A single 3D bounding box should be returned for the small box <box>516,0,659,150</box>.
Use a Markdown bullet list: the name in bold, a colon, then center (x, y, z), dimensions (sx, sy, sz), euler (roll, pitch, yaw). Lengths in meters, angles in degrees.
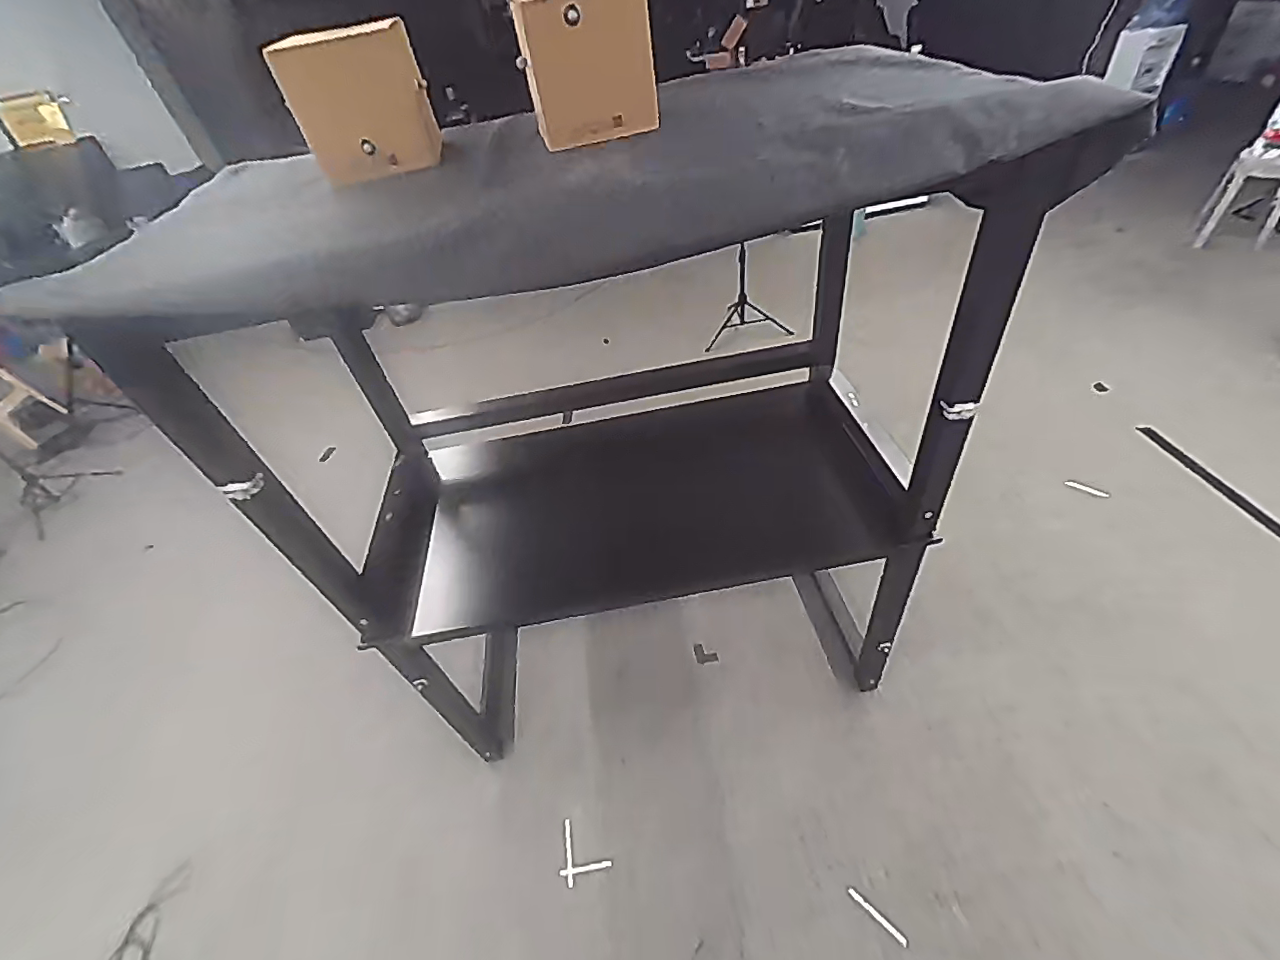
- **small box**: center (-0.076, -0.602, 0.792), dimensions (0.168, 0.176, 0.179), euler (-15, 43, -4)
